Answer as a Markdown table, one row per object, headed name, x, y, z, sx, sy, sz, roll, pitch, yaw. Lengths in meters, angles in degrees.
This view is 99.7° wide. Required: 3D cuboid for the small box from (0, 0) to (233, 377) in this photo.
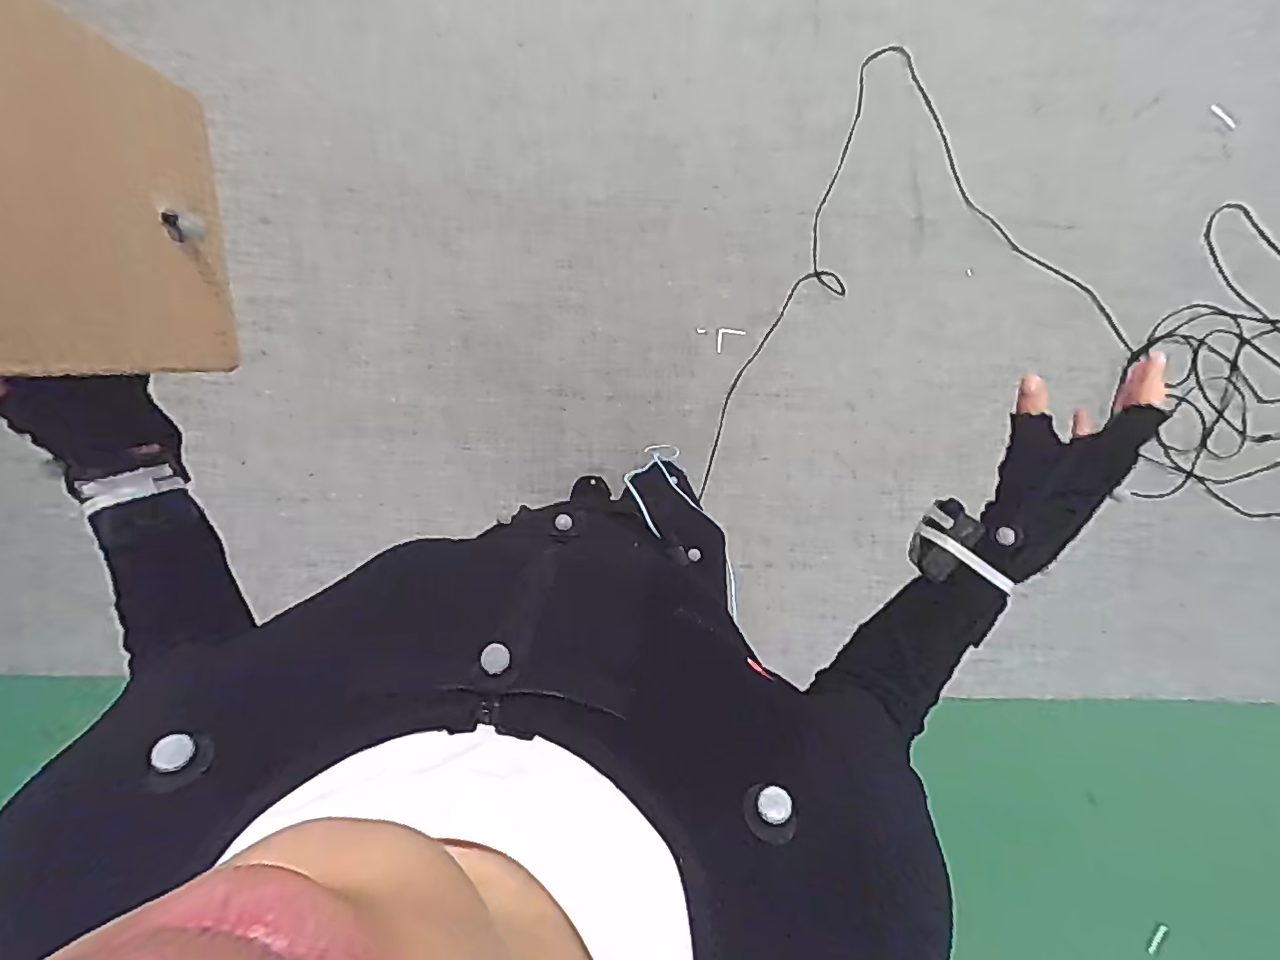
| name | x | y | z | sx | sy | sz | roll | pitch | yaw |
| --- | --- | --- | --- | --- | --- | --- | --- | --- | --- |
| small box | -0.357 | -0.143 | 0.278 | 0.168 | 0.176 | 0.179 | -1 | 102 | -3 |
